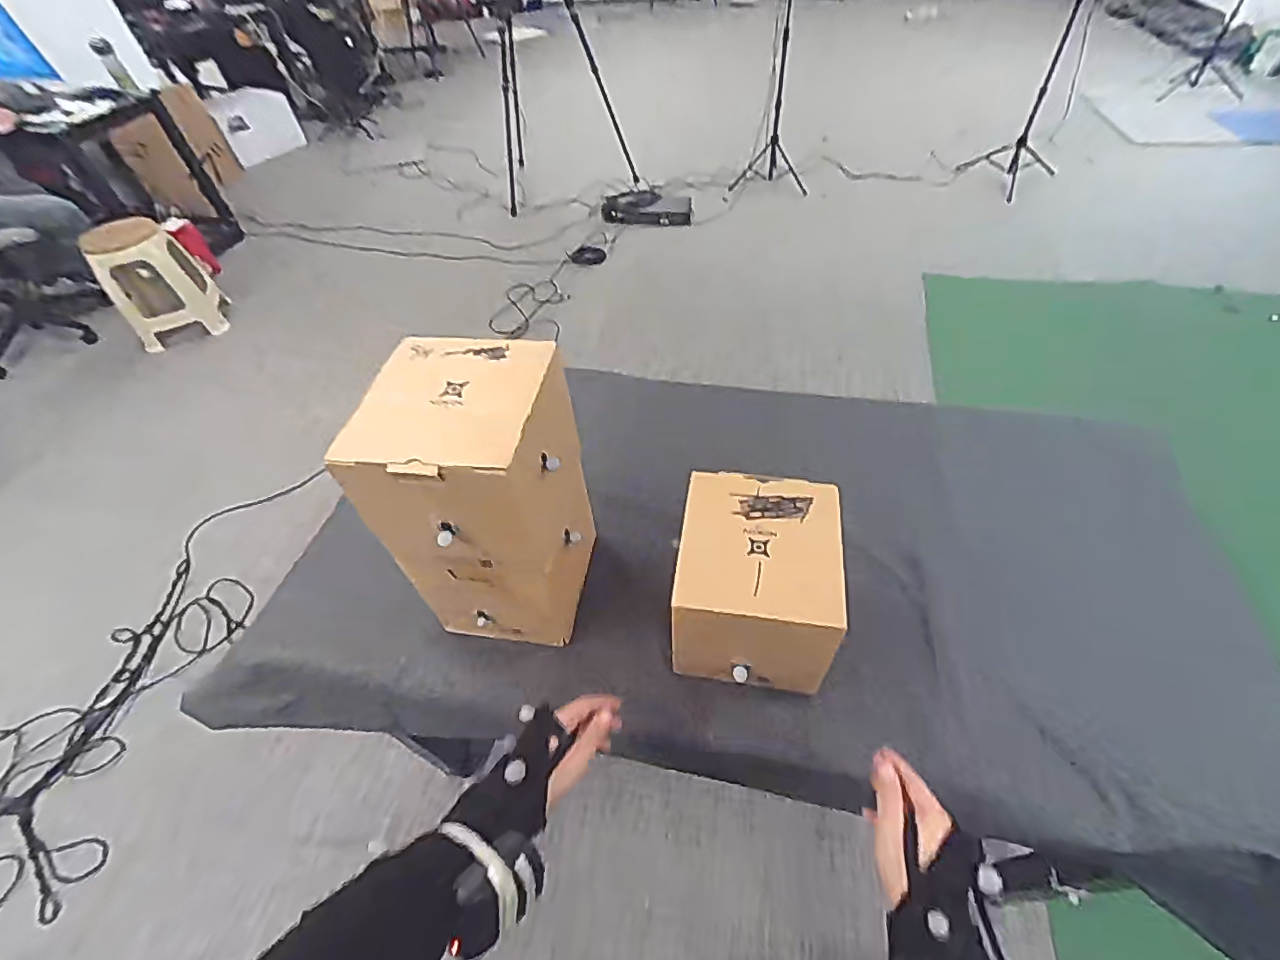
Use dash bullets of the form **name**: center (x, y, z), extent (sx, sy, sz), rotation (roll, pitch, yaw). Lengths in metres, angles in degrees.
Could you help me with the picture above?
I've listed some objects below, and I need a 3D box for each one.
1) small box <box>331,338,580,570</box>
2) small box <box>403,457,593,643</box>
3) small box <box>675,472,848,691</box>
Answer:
- **small box**: center (-0.164, -0.024, 0.556), extent (0.168, 0.176, 0.179), rotation (4, 50, 7)
- **small box**: center (-0.159, 0.081, 0.682), extent (0.168, 0.176, 0.179), rotation (5, 50, 8)
- **small box**: center (0.132, 0.117, 0.623), extent (0.168, 0.176, 0.179), rotation (5, 49, 10)
